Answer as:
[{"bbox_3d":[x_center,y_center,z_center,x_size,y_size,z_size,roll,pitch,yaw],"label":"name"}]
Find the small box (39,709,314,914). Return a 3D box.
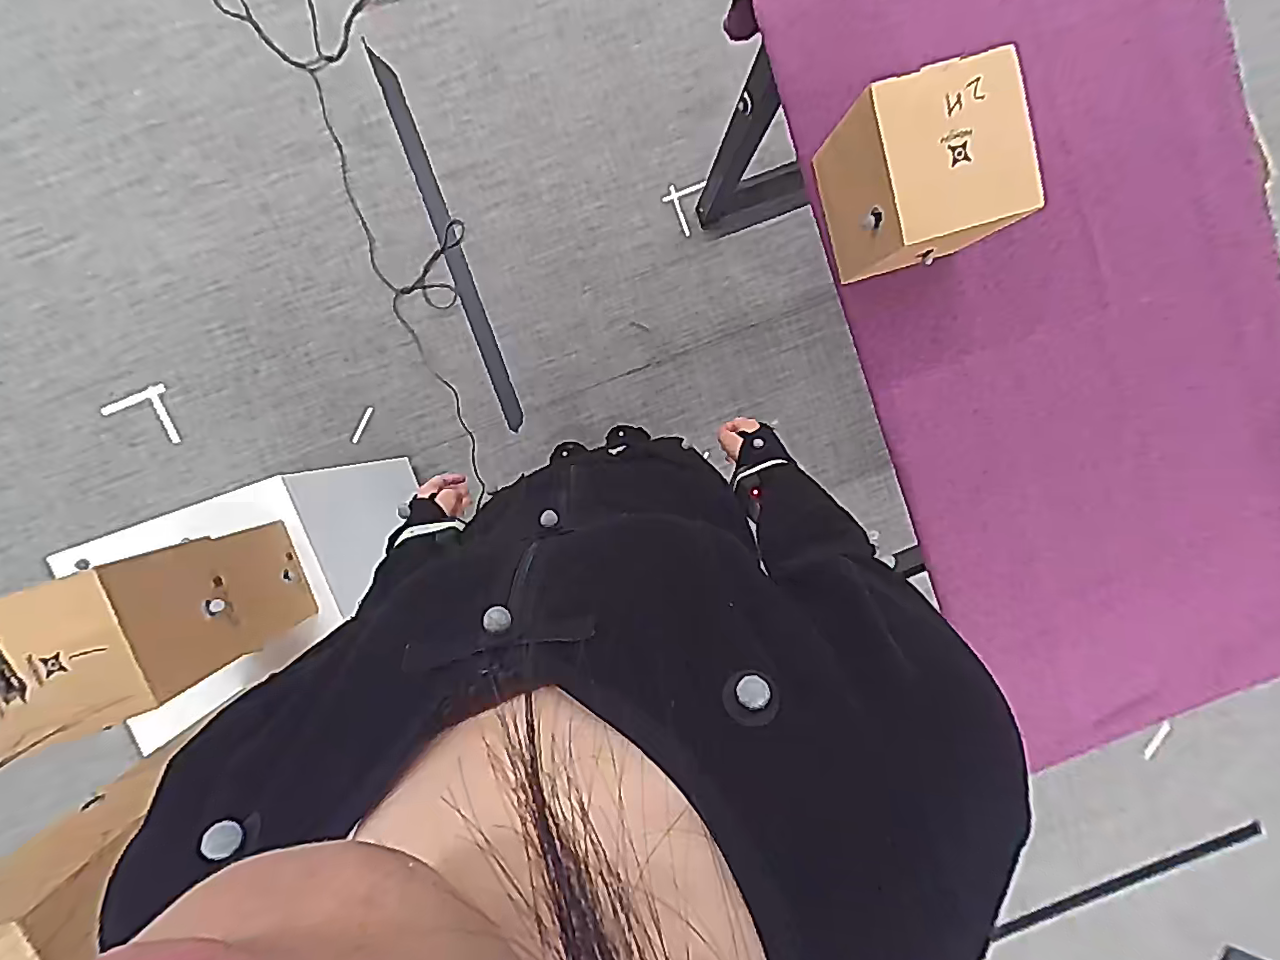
[{"bbox_3d":[-0.542,0.417,0.668,0.179,0.176,0.168,-21,96,0],"label":"small box"}]

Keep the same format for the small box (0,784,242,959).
[{"bbox_3d":[-0.536,0.433,0.506,0.179,0.176,0.168,-21,97,-1],"label":"small box"}]

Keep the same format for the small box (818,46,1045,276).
[{"bbox_3d":[0.341,-0.367,0.662,0.168,0.176,0.179,-16,96,-2],"label":"small box"}]

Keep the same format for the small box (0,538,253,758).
[{"bbox_3d":[-0.616,0.182,0.638,0.179,0.176,0.168,-18,97,-2],"label":"small box"}]

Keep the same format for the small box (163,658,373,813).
[{"bbox_3d":[-0.552,0.403,0.829,0.179,0.176,0.168,-19,97,0],"label":"small box"}]
